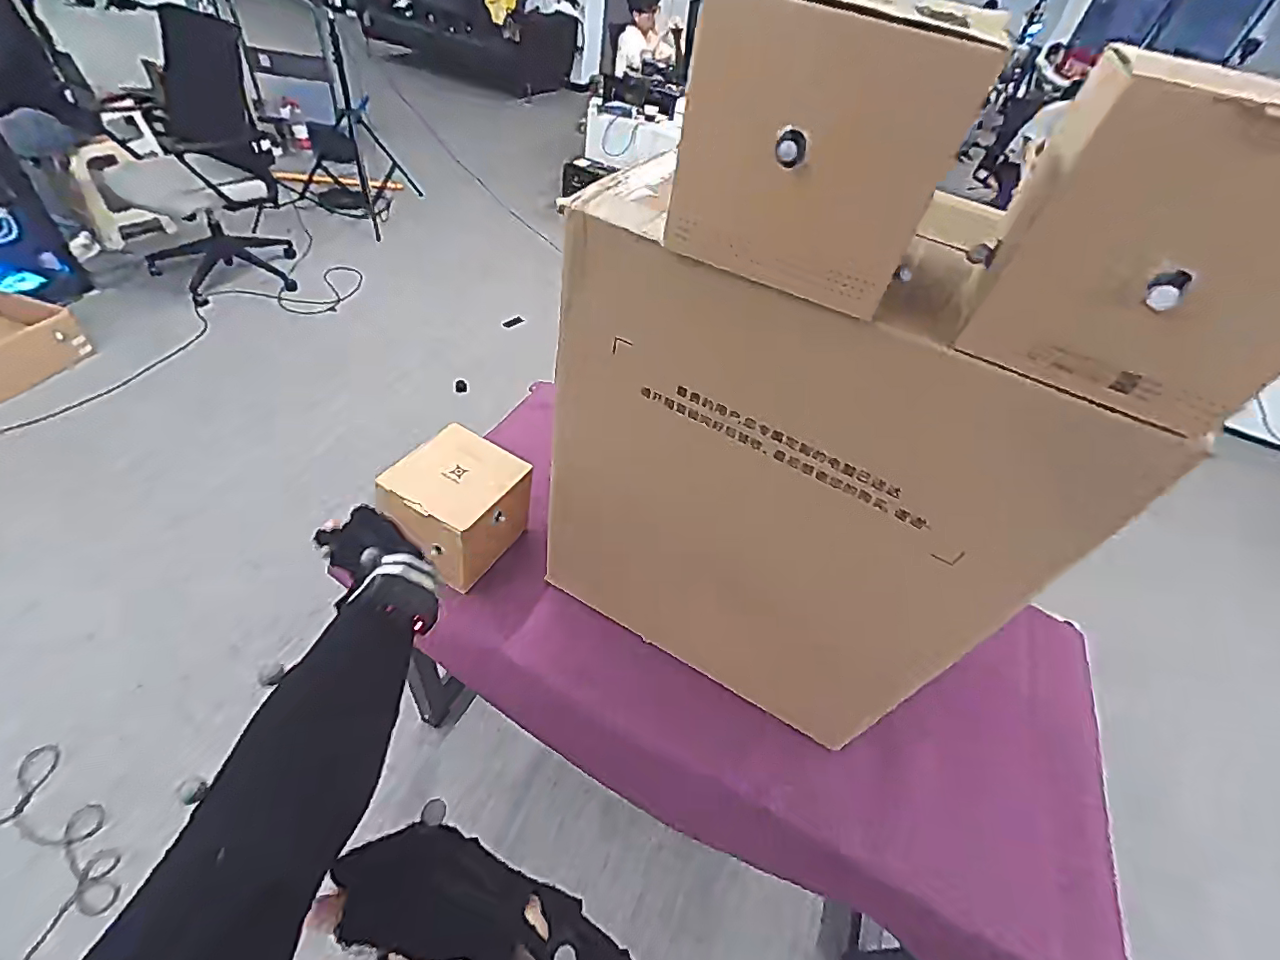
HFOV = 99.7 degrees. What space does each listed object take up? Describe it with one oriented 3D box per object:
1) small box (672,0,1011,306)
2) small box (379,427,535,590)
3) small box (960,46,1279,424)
[{"bbox_3d":[0.144,-0.257,0.414,0.179,0.176,0.168,24,48,13],"label":"small box"},{"bbox_3d":[-0.295,0.050,0.897,0.168,0.176,0.179,29,45,11],"label":"small box"},{"bbox_3d":[0.352,-0.168,0.372,0.168,0.176,0.179,27,49,14],"label":"small box"}]
